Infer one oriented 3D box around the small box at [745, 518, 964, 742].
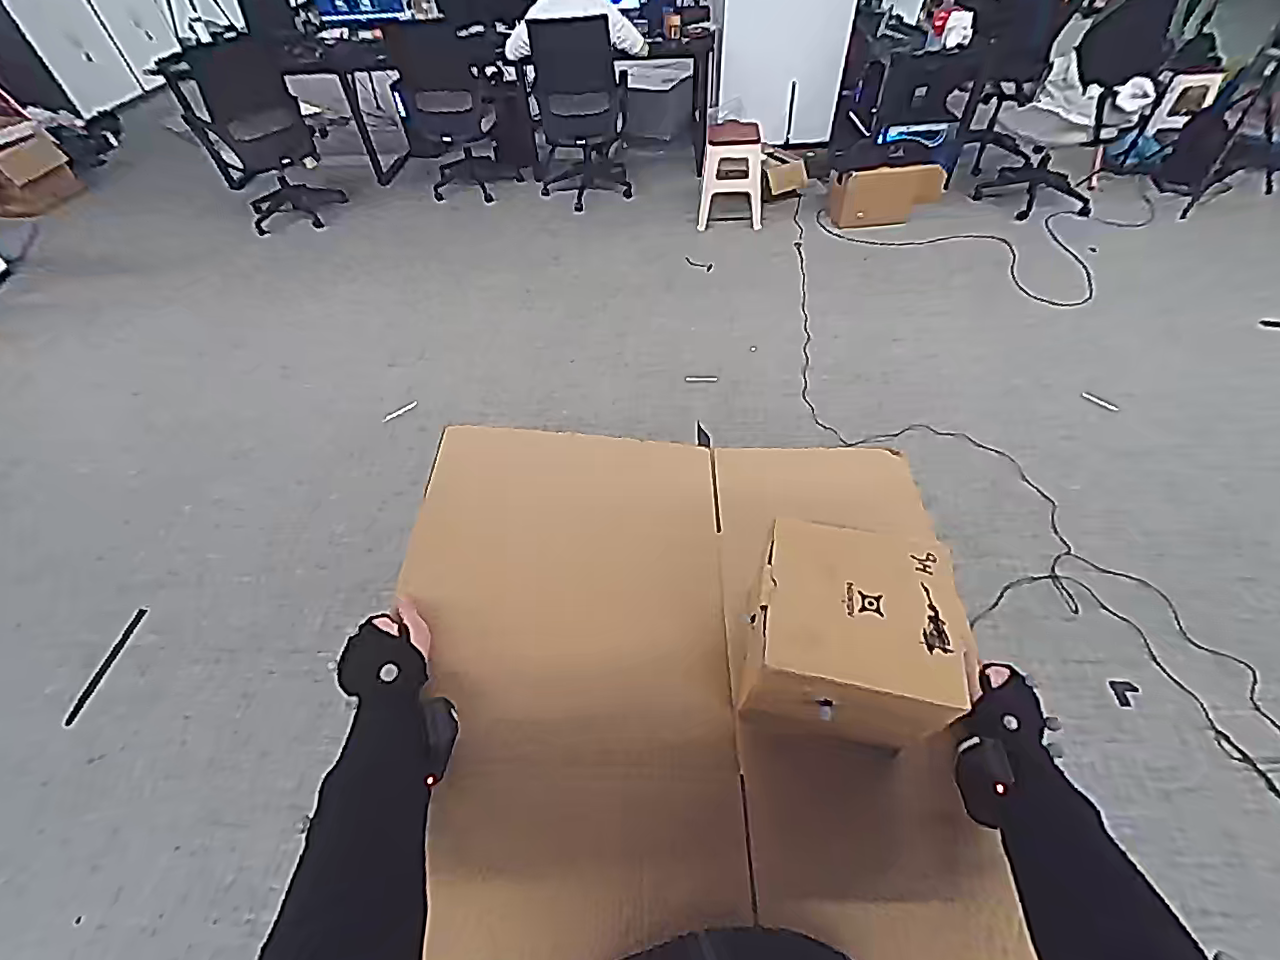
[{"bbox_3d":[0.213,0.165,0.583,0.179,0.176,0.168,9,53,10],"label":"small box"}]
